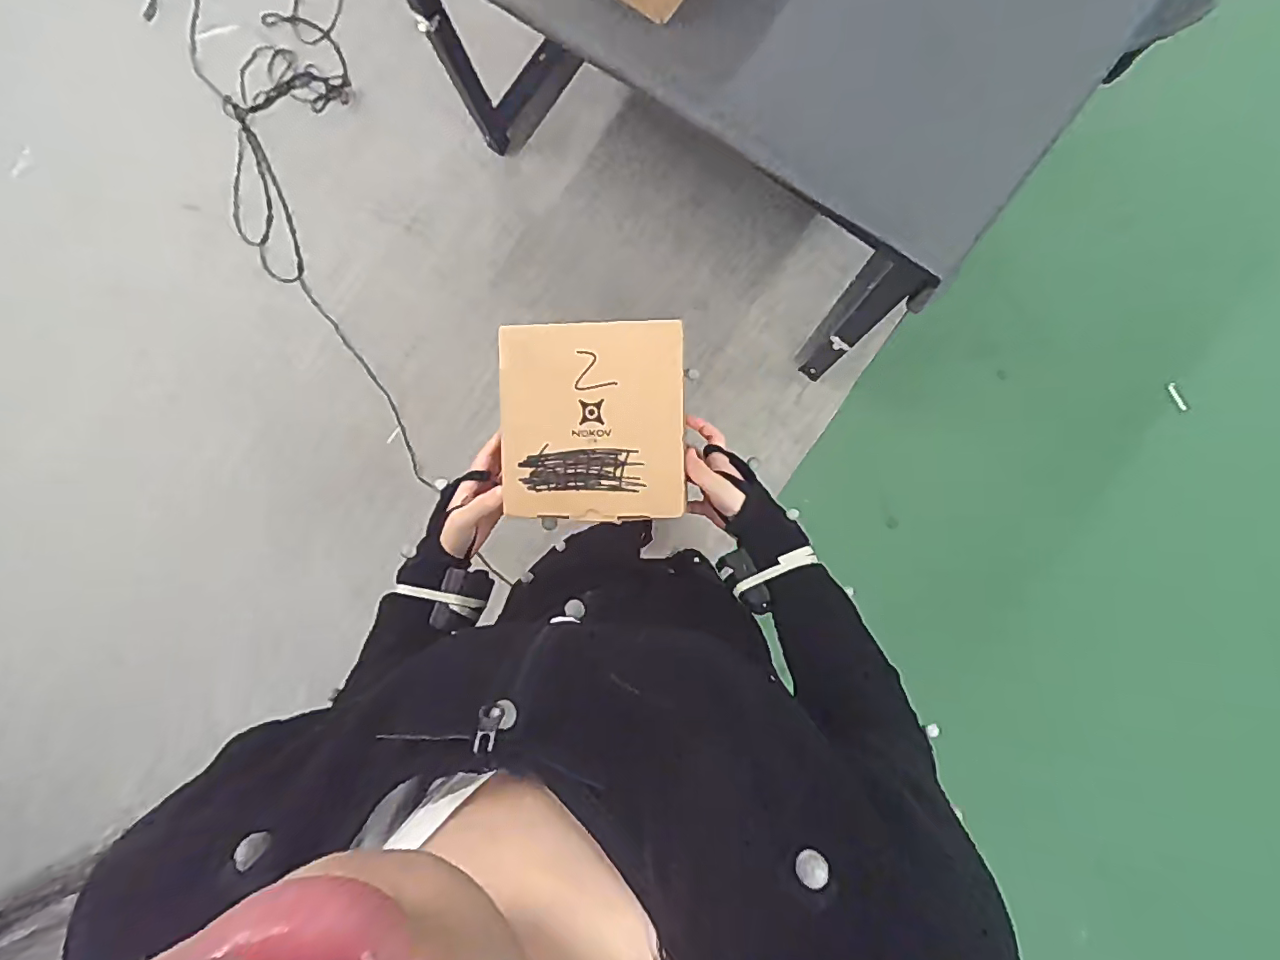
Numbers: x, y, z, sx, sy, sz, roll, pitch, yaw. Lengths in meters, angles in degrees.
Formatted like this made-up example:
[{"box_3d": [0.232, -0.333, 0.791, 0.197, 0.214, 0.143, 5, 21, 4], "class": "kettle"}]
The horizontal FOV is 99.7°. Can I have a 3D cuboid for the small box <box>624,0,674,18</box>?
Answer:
[{"box_3d": [0.011, -0.791, 0.718, 0.168, 0.176, 0.179, 37, 91, 4], "class": "small box"}]
